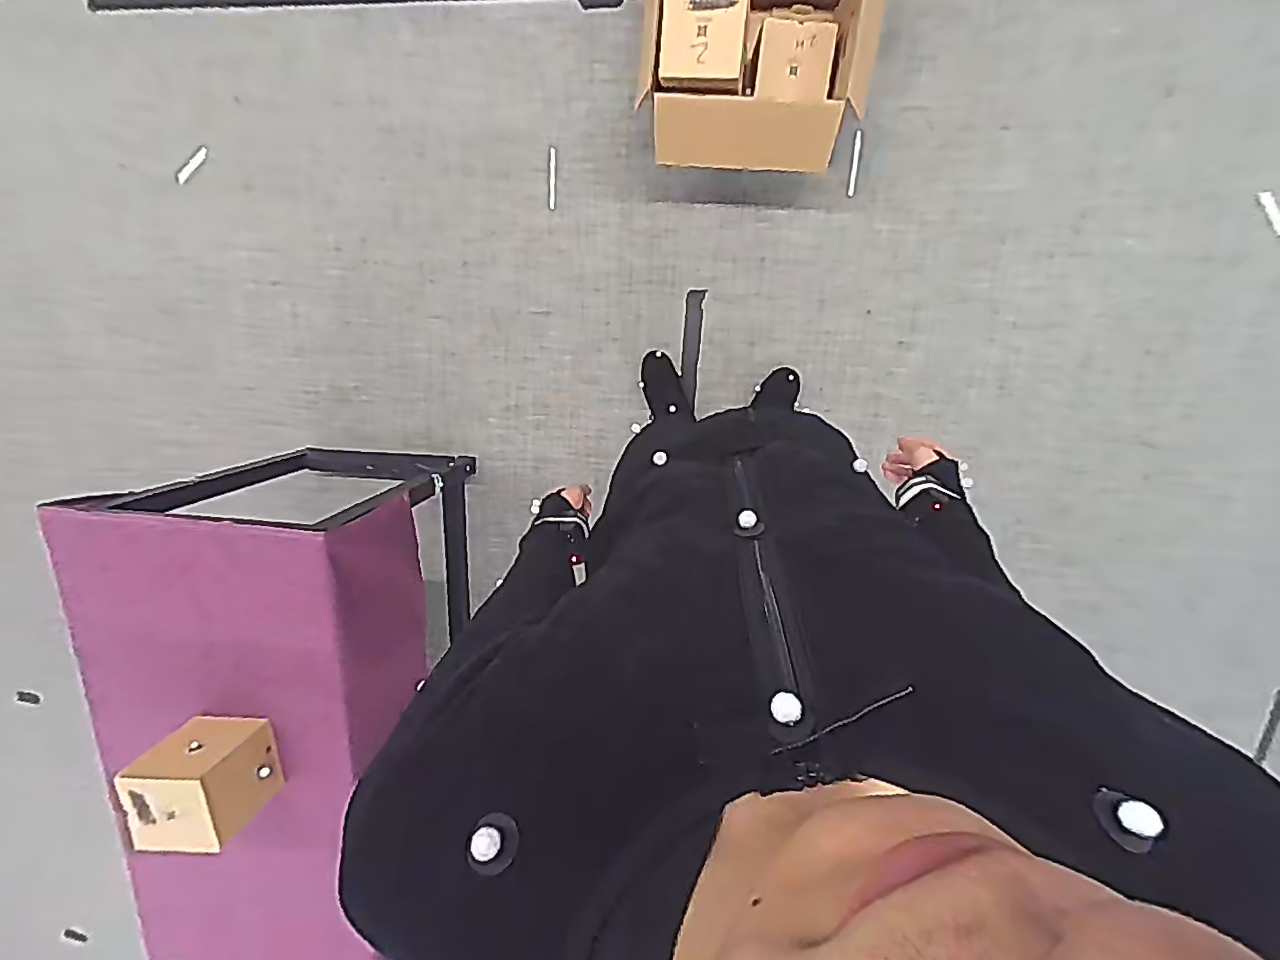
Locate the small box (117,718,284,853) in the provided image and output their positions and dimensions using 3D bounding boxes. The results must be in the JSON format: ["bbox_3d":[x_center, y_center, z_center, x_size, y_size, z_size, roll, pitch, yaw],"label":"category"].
[{"bbox_3d":[-0.858,0.596,1.072,0.179,0.176,0.168,-2,104,6],"label":"small box"}]
